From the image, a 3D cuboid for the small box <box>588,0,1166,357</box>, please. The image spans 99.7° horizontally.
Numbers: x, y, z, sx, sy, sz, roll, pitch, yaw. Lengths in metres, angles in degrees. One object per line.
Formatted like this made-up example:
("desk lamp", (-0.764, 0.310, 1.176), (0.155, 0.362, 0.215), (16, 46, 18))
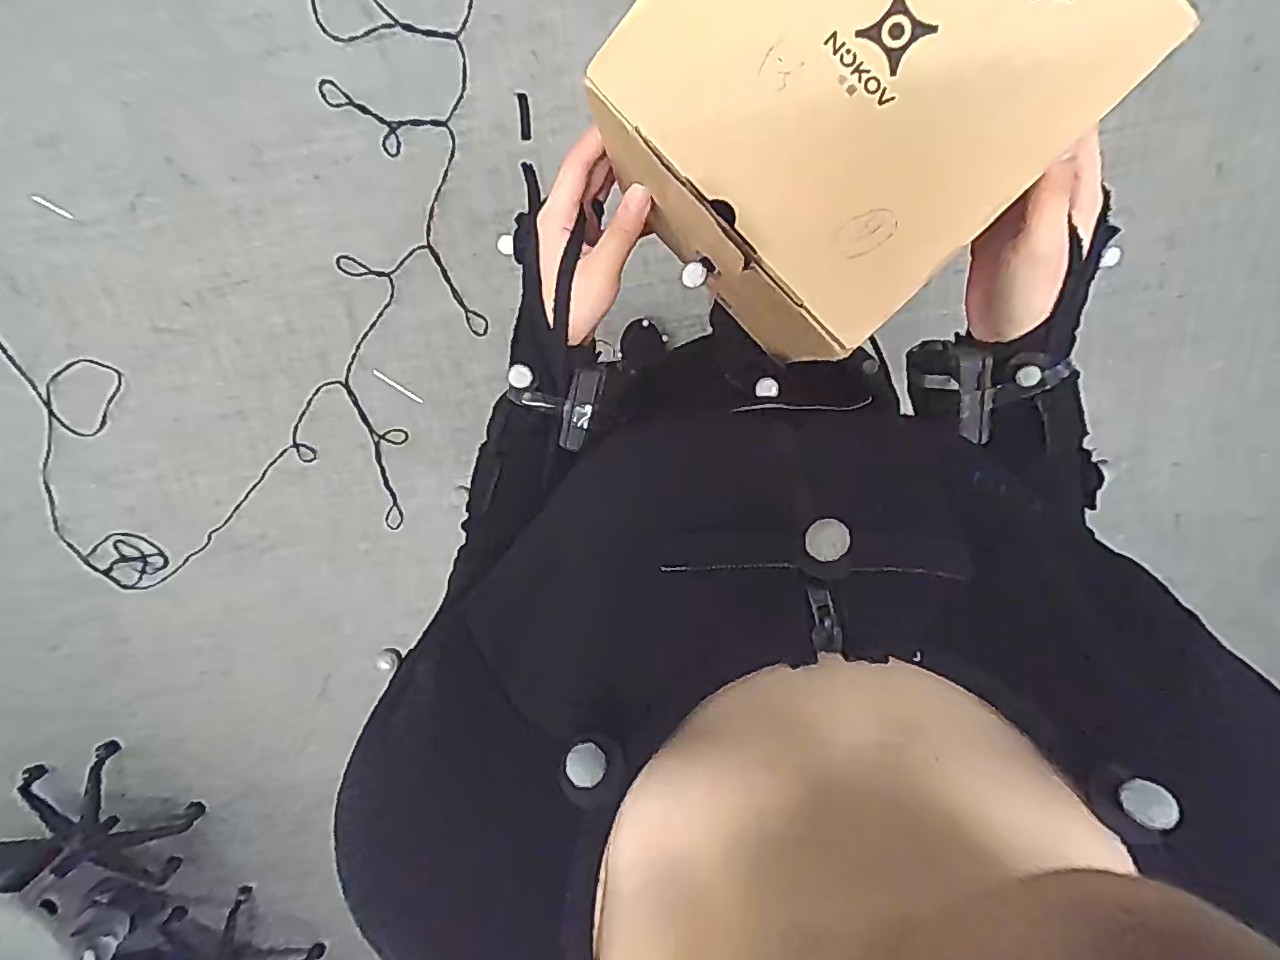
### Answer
("small box", (0.100, -0.186, 0.302), (0.168, 0.176, 0.179), (44, 102, -5))
